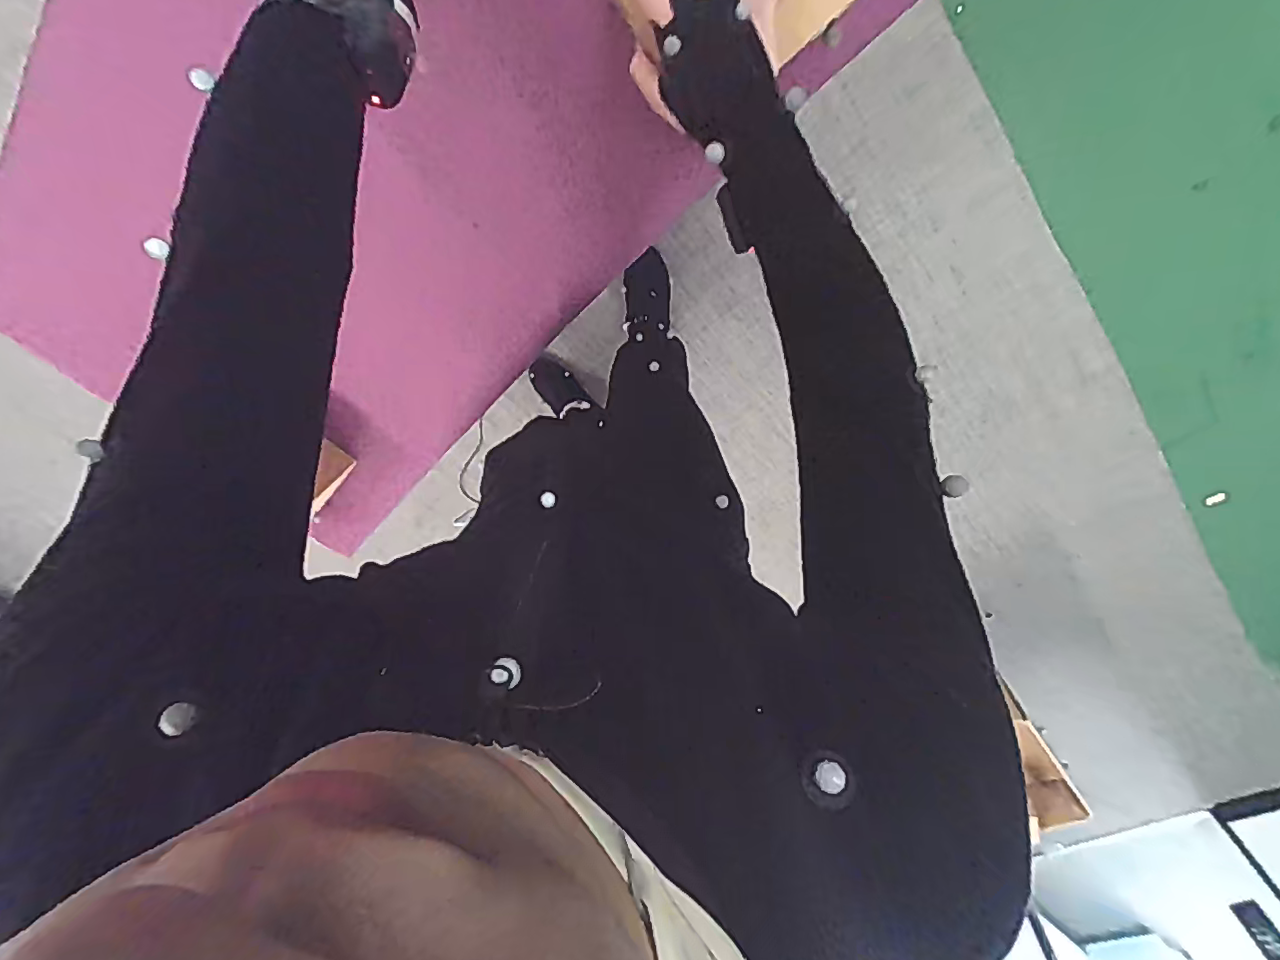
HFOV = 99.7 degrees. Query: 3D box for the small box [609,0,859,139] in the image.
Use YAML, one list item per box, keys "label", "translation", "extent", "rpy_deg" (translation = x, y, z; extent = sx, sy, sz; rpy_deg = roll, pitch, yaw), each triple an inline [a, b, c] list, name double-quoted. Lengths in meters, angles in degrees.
- label: "small box"
  translation: [0.075, -0.439, 0.477]
  extent: [0.179, 0.176, 0.168]
  rpy_deg: [-32, 114, 23]
